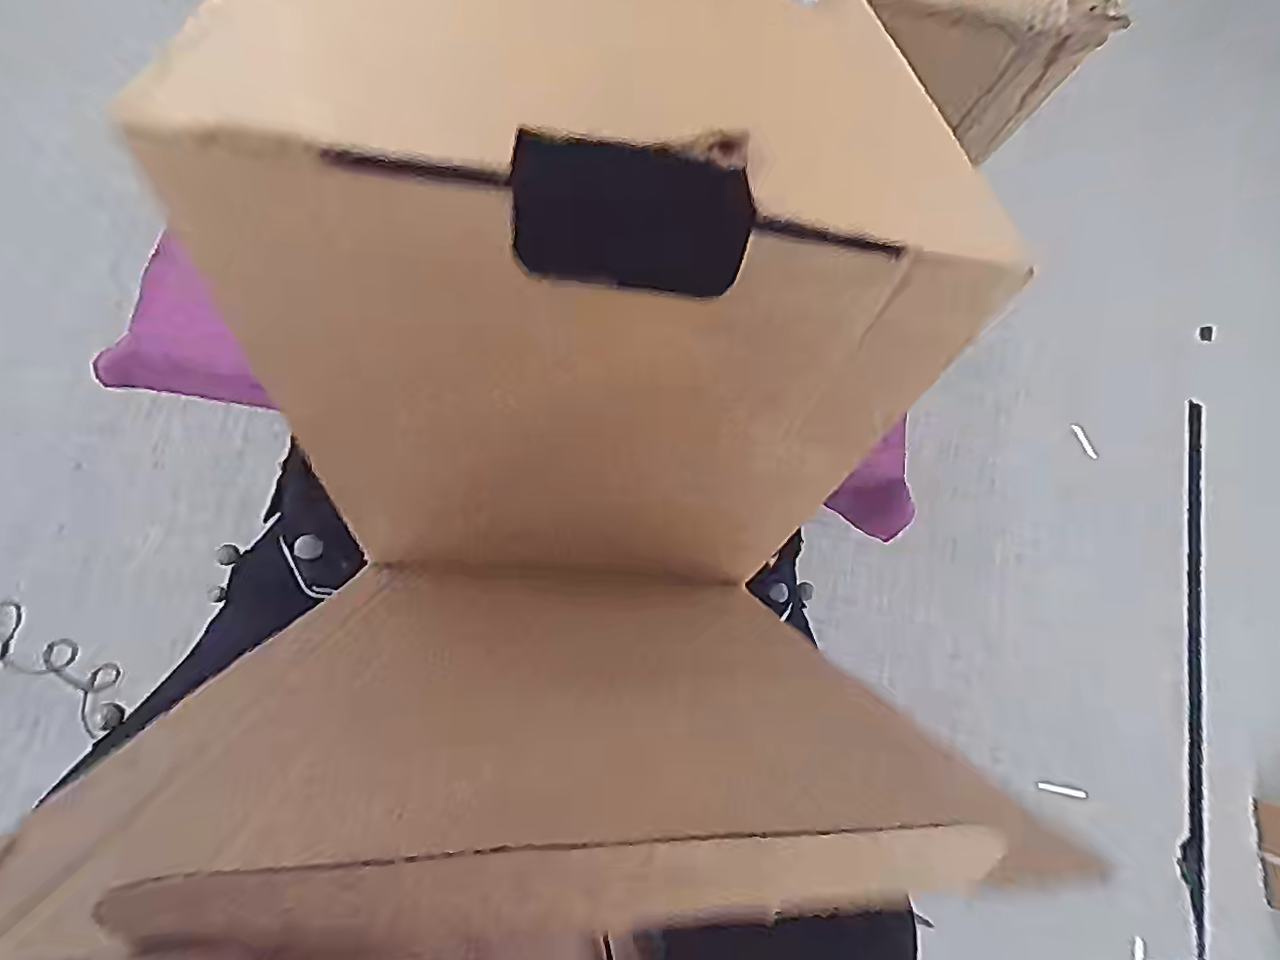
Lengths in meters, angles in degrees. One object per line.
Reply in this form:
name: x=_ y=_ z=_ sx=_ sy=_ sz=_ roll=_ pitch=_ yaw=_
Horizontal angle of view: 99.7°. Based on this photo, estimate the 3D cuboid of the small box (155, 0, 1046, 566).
small box: x=-0.015 y=-0.081 z=0.206 sx=0.168 sy=0.179 sz=0.176 roll=4 pitch=56 yaw=-11
